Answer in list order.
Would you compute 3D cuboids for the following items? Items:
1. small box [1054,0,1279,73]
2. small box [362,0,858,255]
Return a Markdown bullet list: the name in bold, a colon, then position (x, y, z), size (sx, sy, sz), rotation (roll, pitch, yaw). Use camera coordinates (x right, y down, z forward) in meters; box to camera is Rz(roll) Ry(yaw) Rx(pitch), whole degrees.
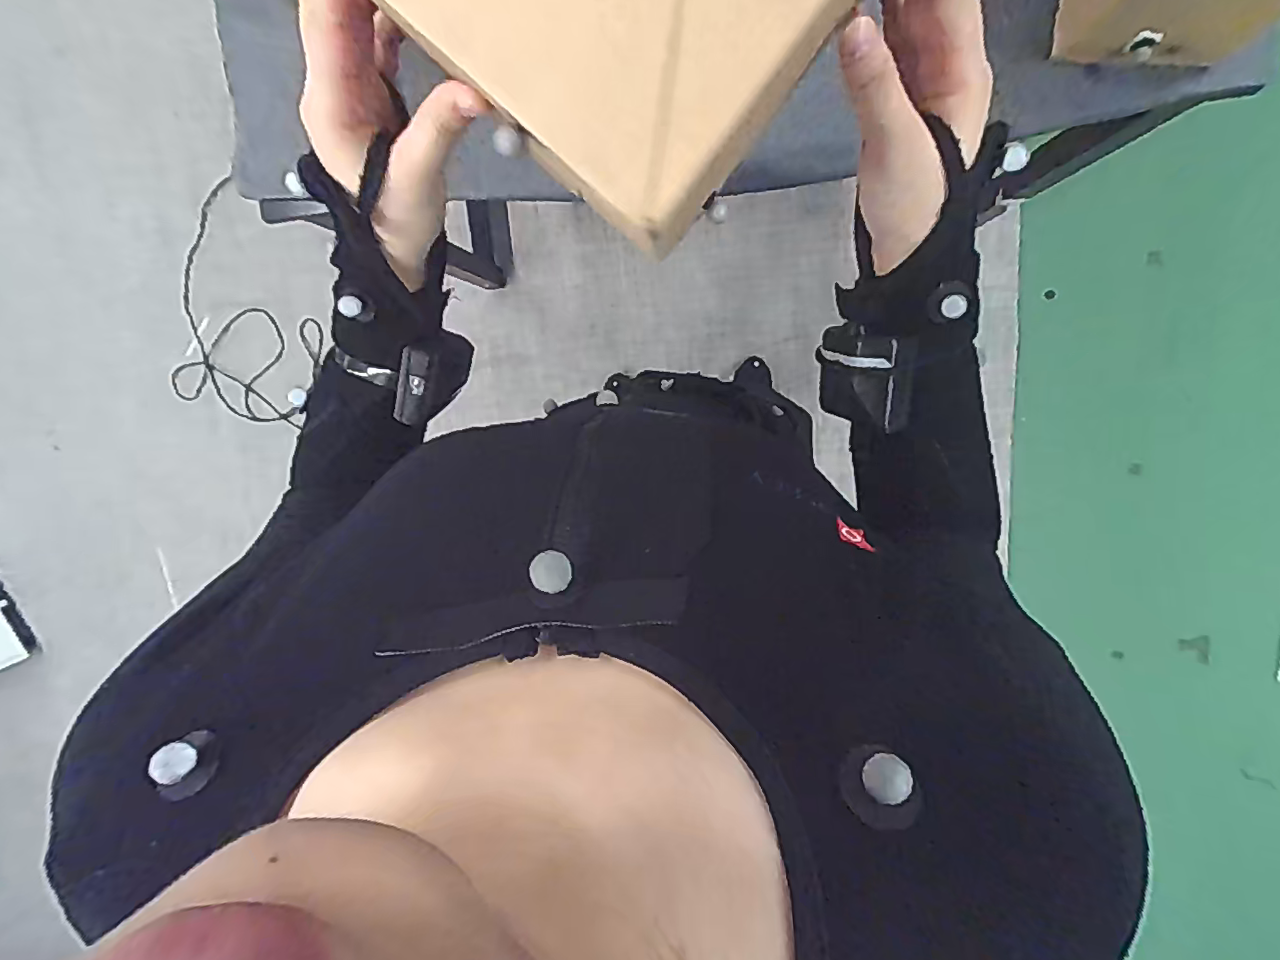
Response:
- **small box**: position (0.523, -0.519, 0.493), size (0.168, 0.176, 0.179), rotation (6, 98, 8)
- **small box**: position (0.001, -0.217, 0.215), size (0.168, 0.176, 0.179), rotation (37, 105, -11)
